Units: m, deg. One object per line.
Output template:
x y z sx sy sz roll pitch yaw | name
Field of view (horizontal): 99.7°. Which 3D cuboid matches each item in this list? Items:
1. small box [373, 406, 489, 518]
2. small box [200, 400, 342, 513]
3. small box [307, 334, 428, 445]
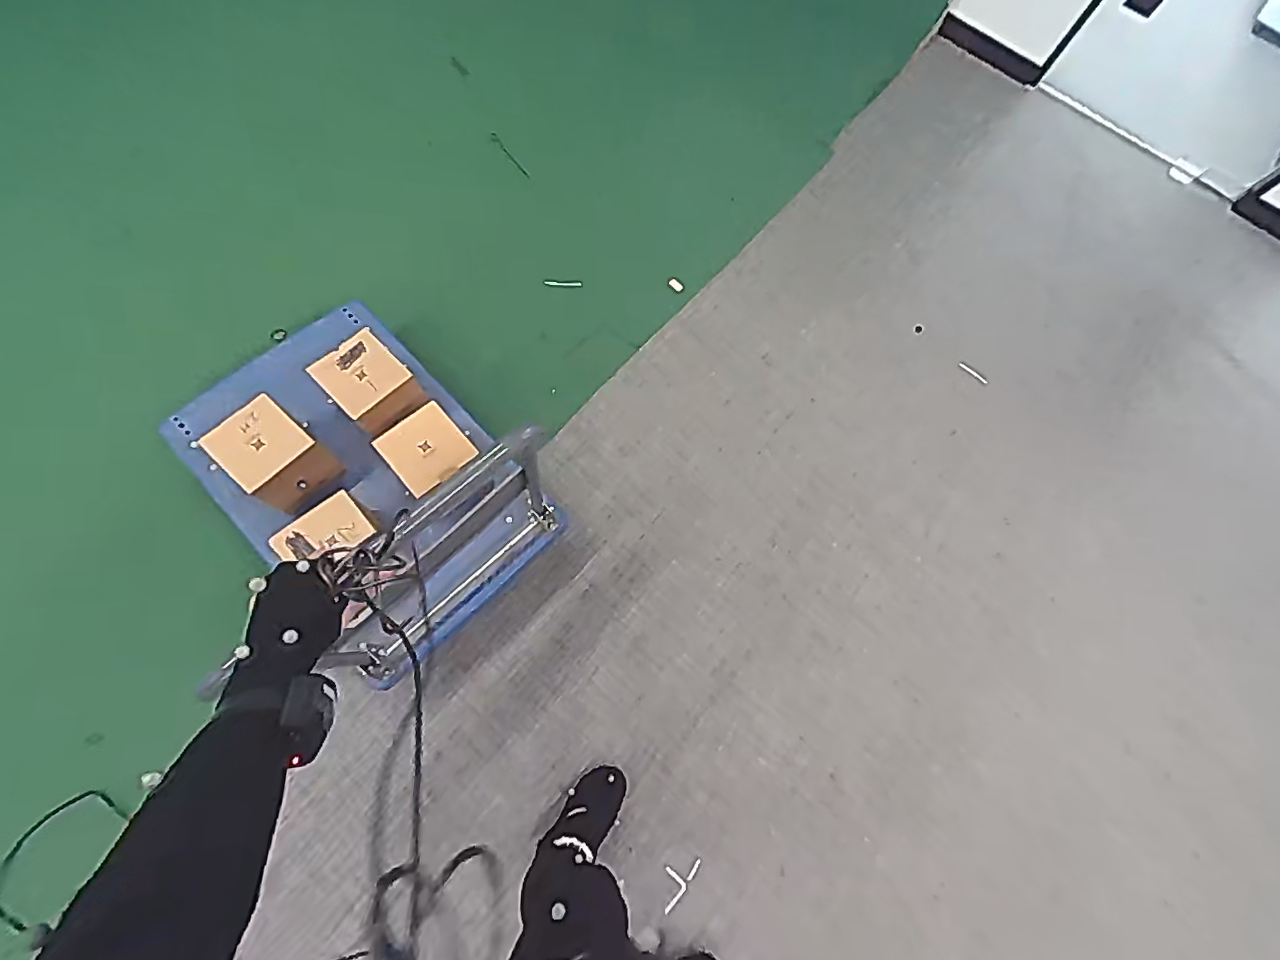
-0.479 -0.035 1.266 0.168 0.176 0.179 -41 80 -16 | small box
-0.828 -0.043 1.235 0.179 0.176 0.168 41 72 9 | small box
-0.647 -0.208 1.307 0.179 0.176 0.168 44 74 9 | small box
